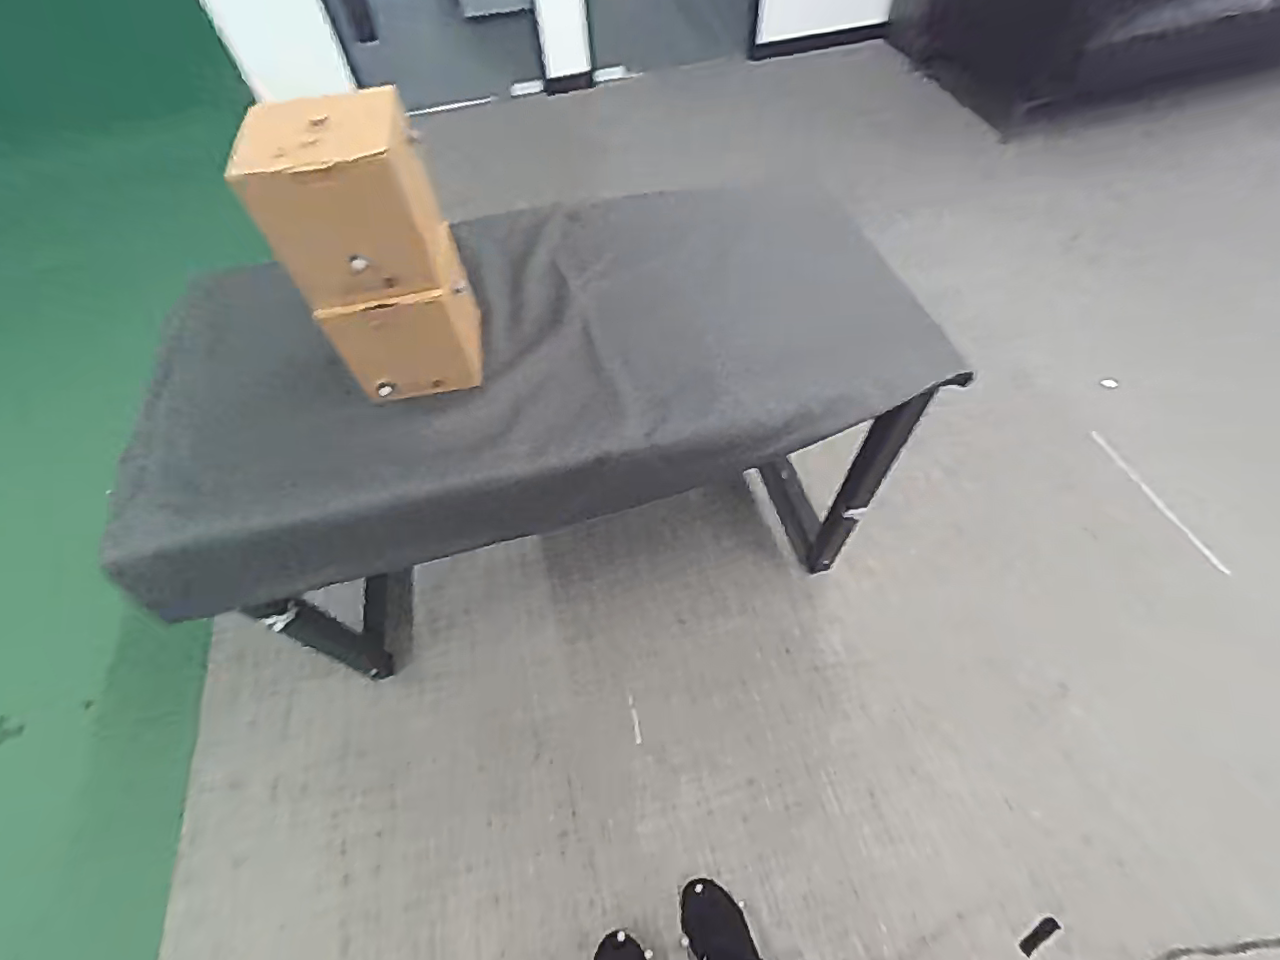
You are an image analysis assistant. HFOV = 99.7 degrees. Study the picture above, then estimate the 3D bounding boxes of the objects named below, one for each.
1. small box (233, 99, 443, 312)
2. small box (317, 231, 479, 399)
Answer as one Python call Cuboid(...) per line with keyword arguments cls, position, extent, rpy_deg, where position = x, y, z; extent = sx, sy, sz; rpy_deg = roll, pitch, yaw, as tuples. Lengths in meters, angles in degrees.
Cuboid(cls="small box", position=(-0.358, -0.342, 0.680), extent=(0.168, 0.176, 0.179), rpy_deg=(-12, 56, -5))
Cuboid(cls="small box", position=(-0.345, -0.238, 0.808), extent=(0.168, 0.176, 0.179), rpy_deg=(-10, 56, -4))
